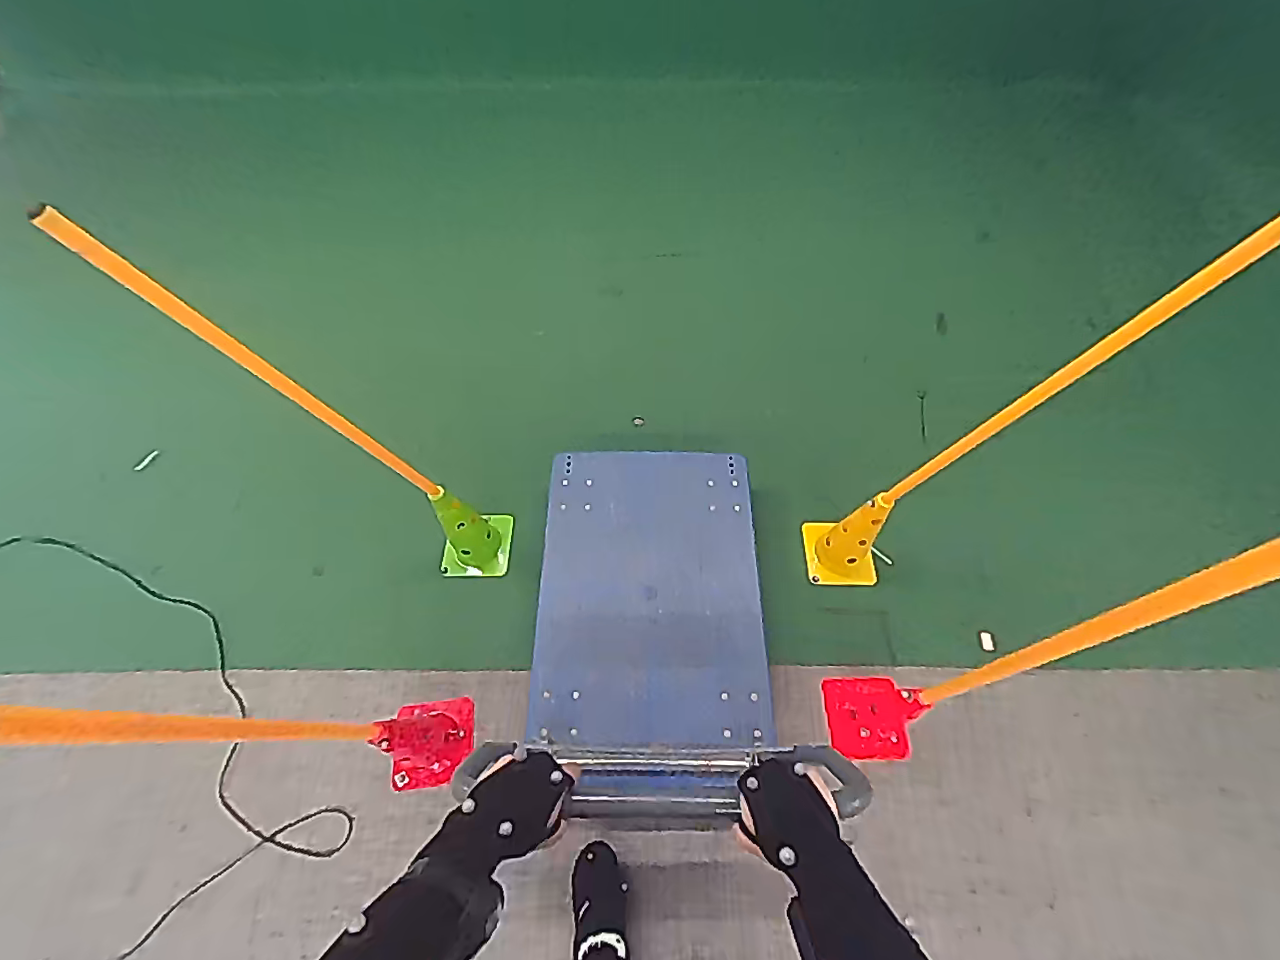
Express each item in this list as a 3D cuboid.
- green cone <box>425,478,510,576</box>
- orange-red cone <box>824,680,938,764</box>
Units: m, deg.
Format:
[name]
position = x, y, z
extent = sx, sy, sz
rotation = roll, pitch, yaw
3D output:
[green cone]
position = -0.505, 0.107, 1.486
extent = 0.200, 0.368, 0.202
rotation = -1, 60, 1
[orange-red cone]
position = 0.581, 0.529, 1.243
extent = 0.198, 0.360, 0.199
rotation = 0, 59, 0
